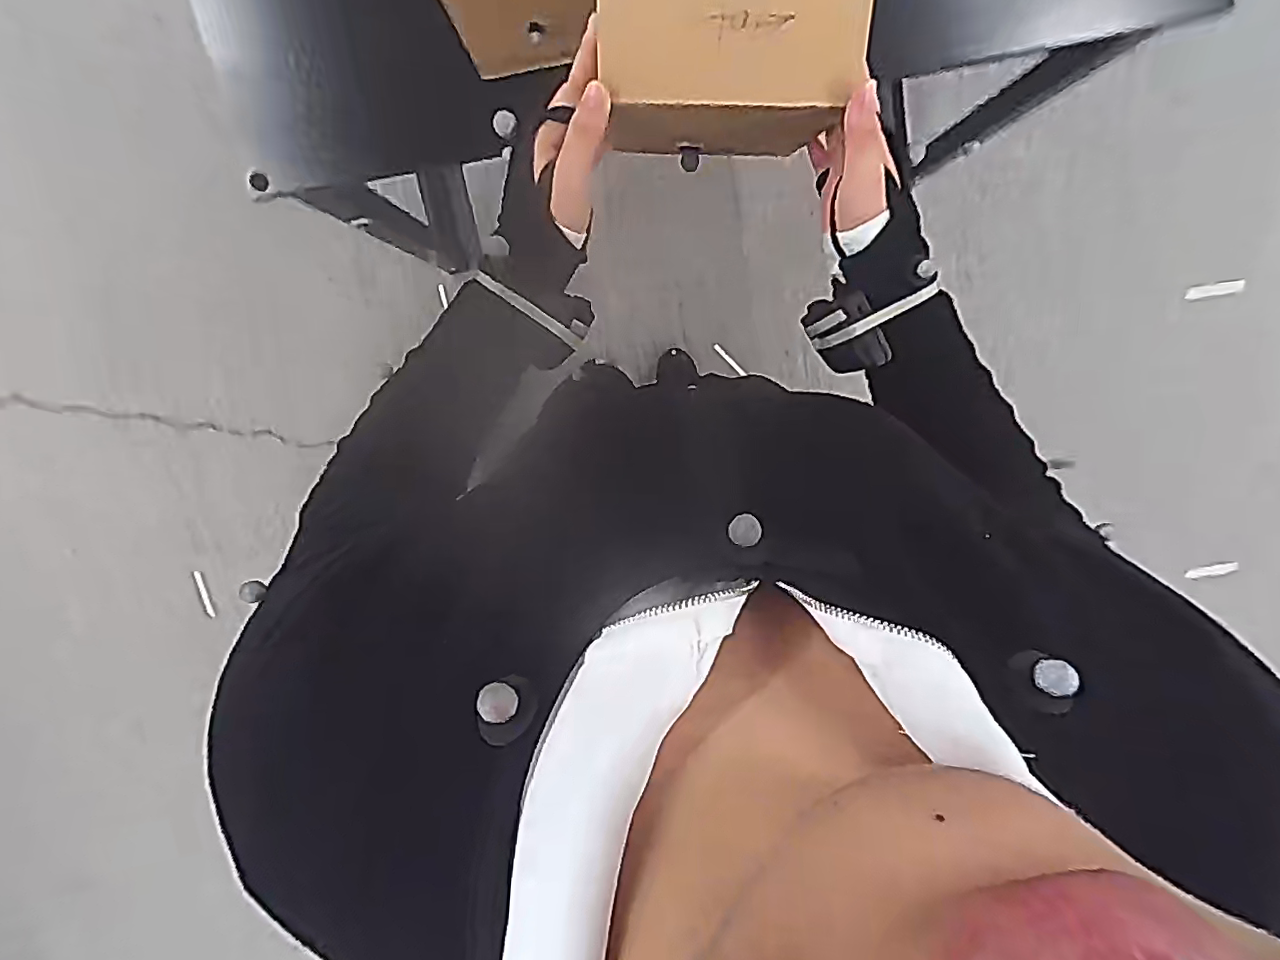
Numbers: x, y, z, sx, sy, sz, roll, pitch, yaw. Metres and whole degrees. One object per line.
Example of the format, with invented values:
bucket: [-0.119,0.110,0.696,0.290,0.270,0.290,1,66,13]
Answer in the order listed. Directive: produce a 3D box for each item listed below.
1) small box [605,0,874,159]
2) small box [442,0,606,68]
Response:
small box: [0.061,-0.350,0.389,0.168,0.176,0.179,2,112,0]
small box: [-0.123,-0.564,0.554,0.168,0.176,0.179,-11,102,1]
